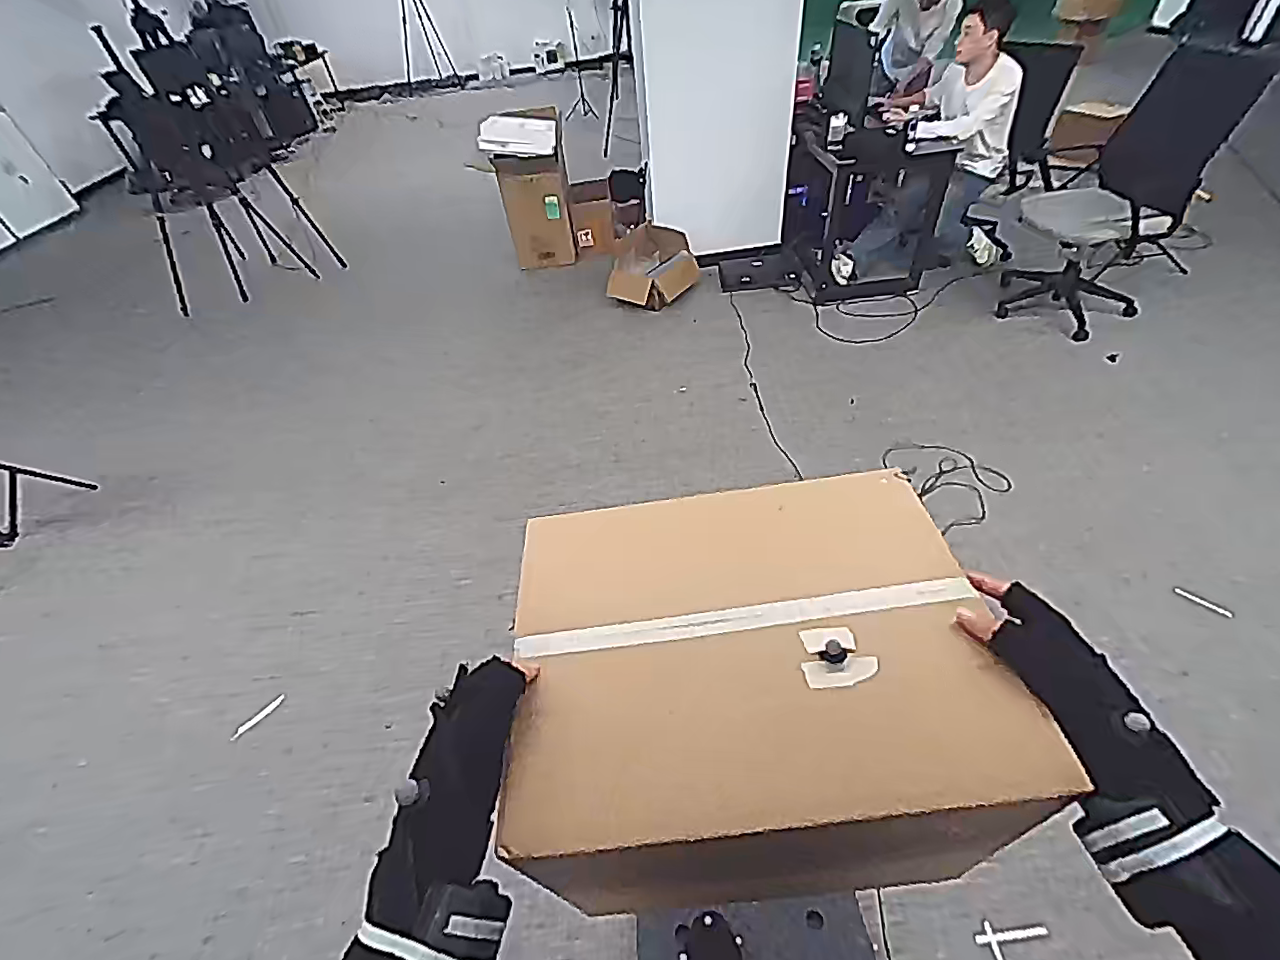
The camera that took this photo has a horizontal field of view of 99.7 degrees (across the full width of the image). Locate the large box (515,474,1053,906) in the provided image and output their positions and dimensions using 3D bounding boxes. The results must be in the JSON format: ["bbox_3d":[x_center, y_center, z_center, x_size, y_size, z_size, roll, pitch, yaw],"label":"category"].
[{"bbox_3d":[0.106,0.233,0.599,0.408,0.320,0.320,-8,45,2],"label":"large box"}]
